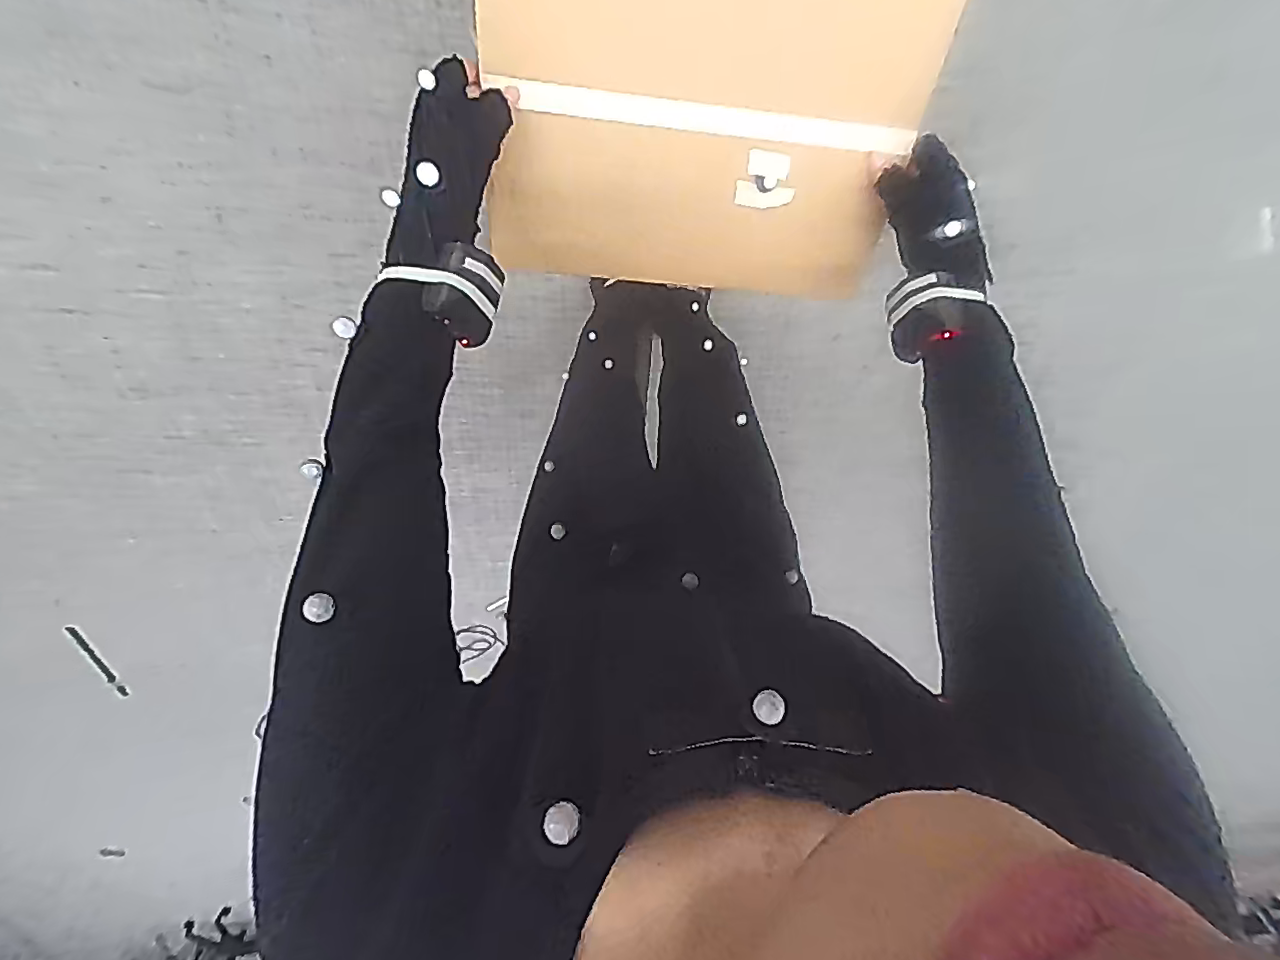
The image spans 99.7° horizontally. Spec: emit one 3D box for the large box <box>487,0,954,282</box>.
[{"bbox_3d":[0.052,-0.443,0.615,0.408,0.320,0.320,2,130,-7],"label":"large box"}]
